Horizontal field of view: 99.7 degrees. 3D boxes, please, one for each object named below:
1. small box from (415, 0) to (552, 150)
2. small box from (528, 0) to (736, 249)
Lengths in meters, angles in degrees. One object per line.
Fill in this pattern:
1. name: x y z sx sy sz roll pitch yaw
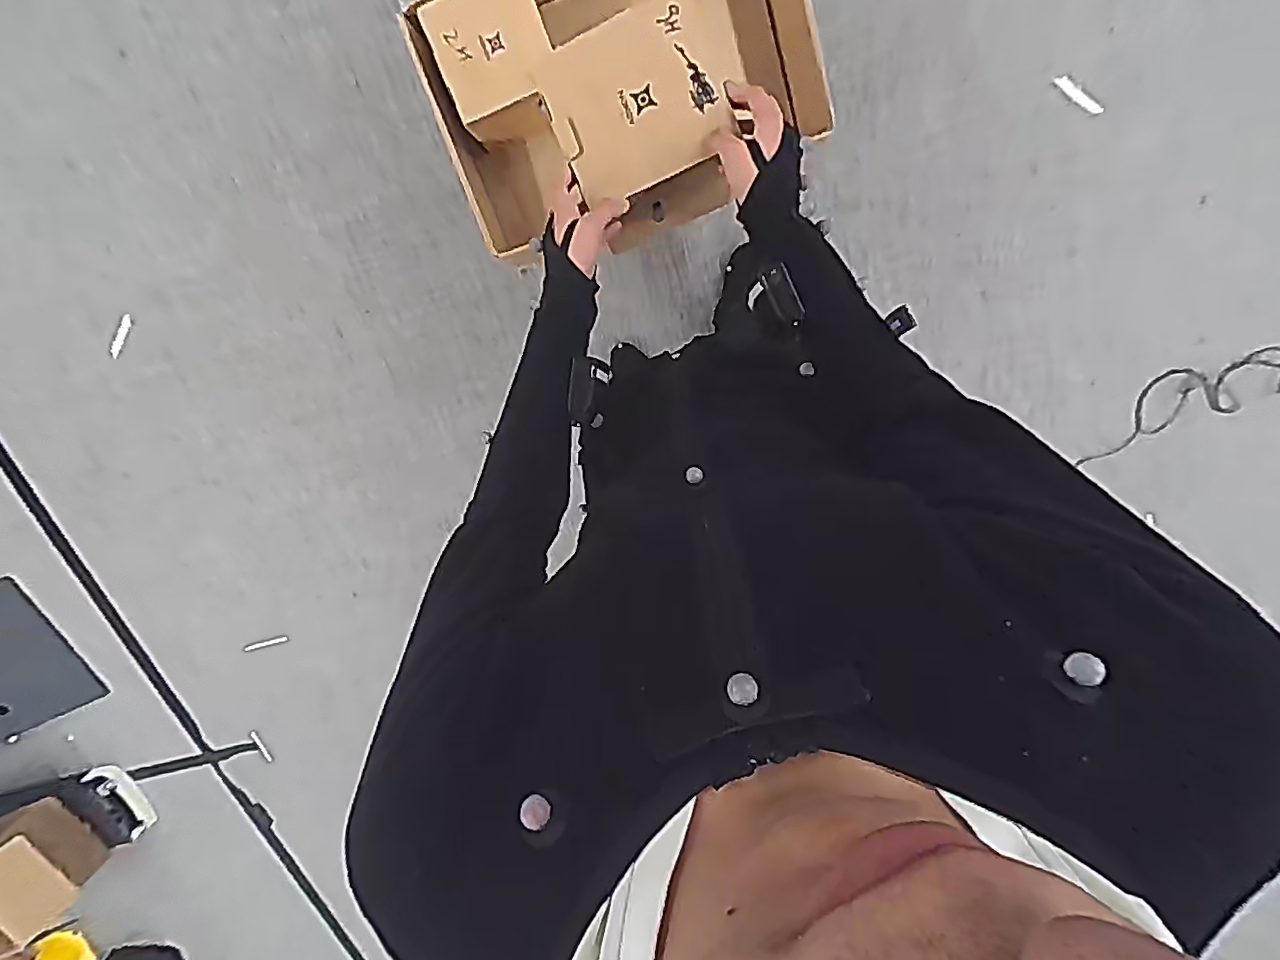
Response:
1. small box: -0.231 -0.685 0.898 0.179 0.176 0.168 -20 107 6
2. small box: 0.001 -0.397 0.629 0.179 0.176 0.168 -22 96 10
